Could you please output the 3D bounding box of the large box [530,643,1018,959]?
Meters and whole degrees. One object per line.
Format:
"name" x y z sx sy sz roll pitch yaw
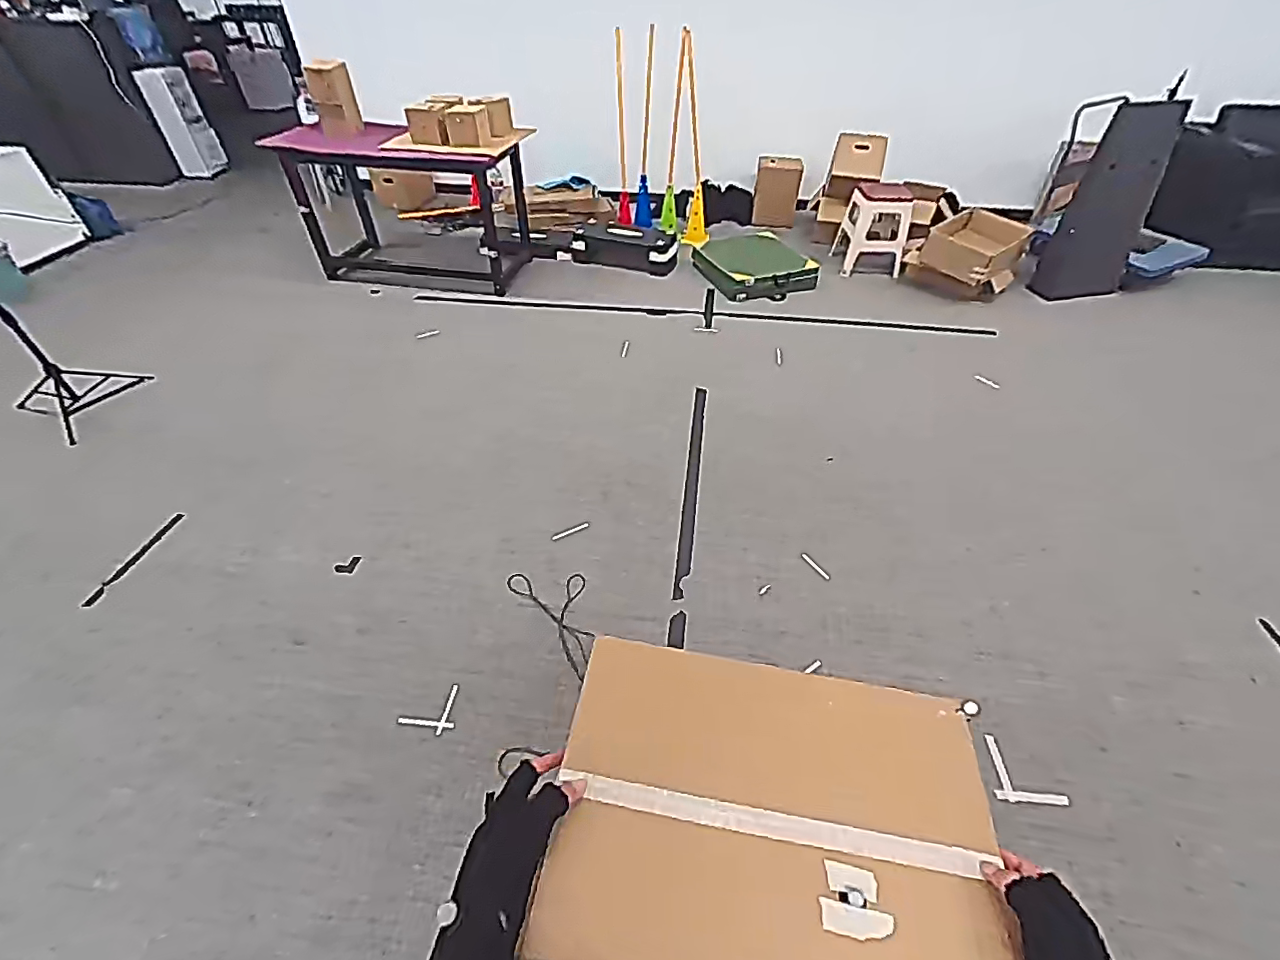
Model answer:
"large box" 0.121 0.428 0.613 0.408 0.320 0.320 9 46 6
